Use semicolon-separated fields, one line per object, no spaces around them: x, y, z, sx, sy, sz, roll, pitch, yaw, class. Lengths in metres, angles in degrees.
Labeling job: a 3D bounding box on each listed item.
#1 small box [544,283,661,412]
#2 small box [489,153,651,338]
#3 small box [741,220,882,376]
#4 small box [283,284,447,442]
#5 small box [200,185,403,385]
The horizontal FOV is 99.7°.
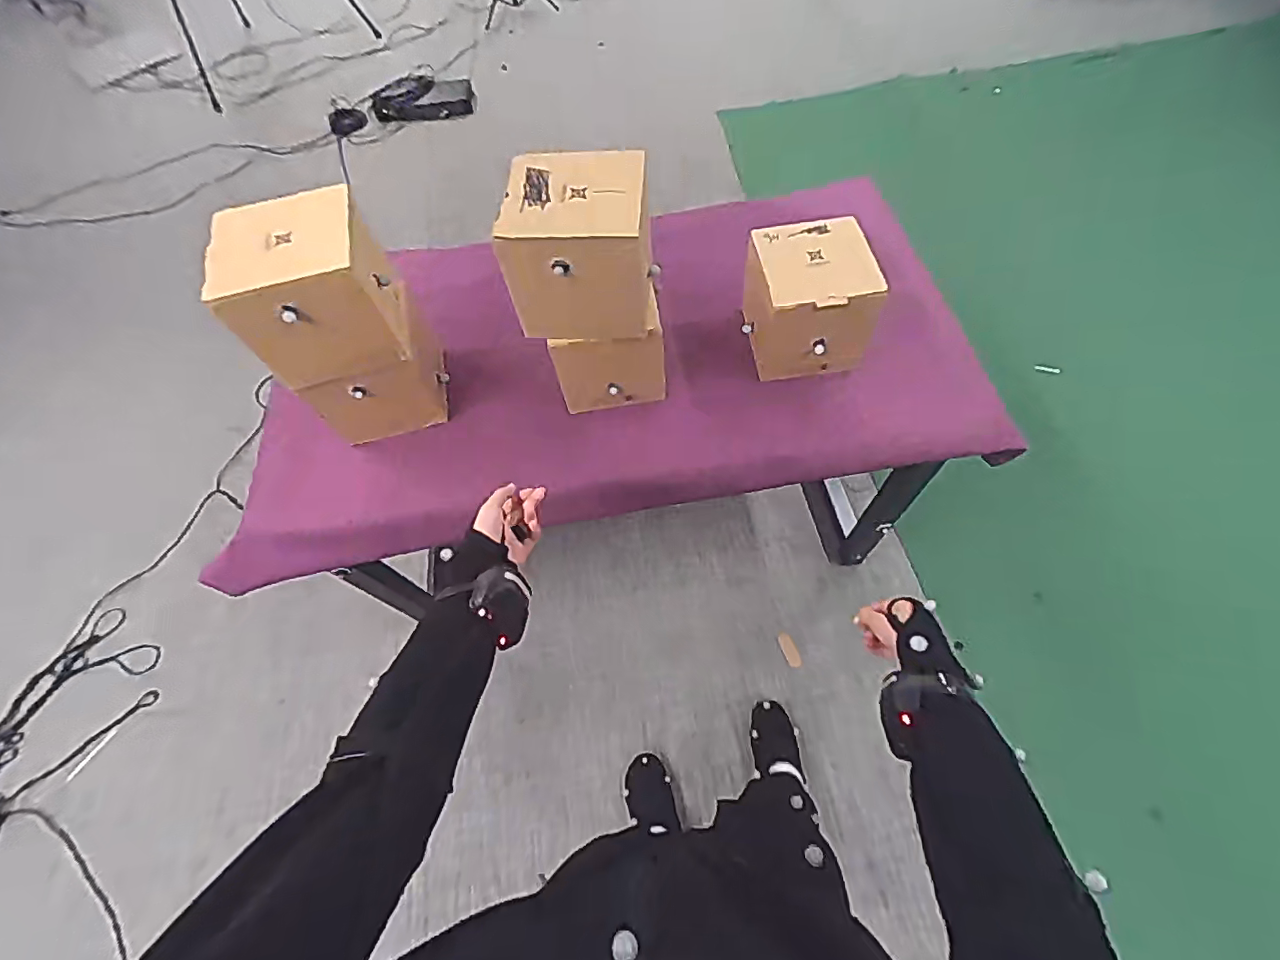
-0.059;-0.235;0.875;0.168;0.176;0.179;-8;61;0;small box
-0.081;-0.309;0.730;0.179;0.176;0.168;1;62;5;small box
0.263;-0.284;0.876;0.168;0.176;0.179;-7;61;1;small box
-0.433;-0.182;0.876;0.179;0.176;0.168;-14;62;-4;small box
-0.438;-0.256;0.732;0.179;0.176;0.168;-16;63;-3;small box
